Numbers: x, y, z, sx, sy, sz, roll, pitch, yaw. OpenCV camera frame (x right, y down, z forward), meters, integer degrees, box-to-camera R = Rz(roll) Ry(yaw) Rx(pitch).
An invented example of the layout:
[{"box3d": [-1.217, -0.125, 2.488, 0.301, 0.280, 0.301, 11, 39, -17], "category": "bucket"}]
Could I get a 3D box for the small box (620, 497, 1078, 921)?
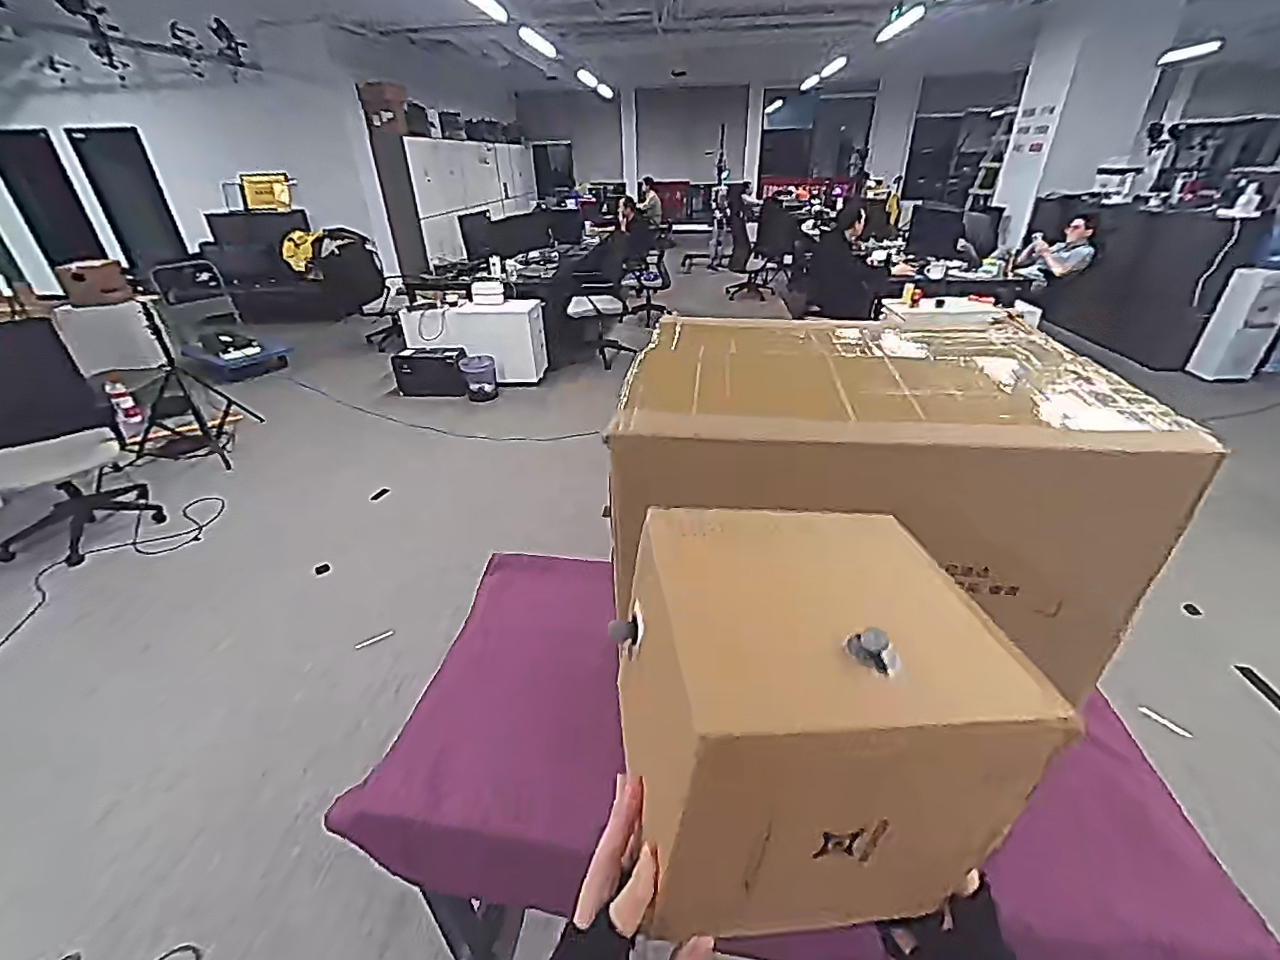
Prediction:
[{"box3d": [0.087, 0.121, 0.326, 0.179, 0.168, 0.176, 2, 28, -8], "category": "small box"}]
